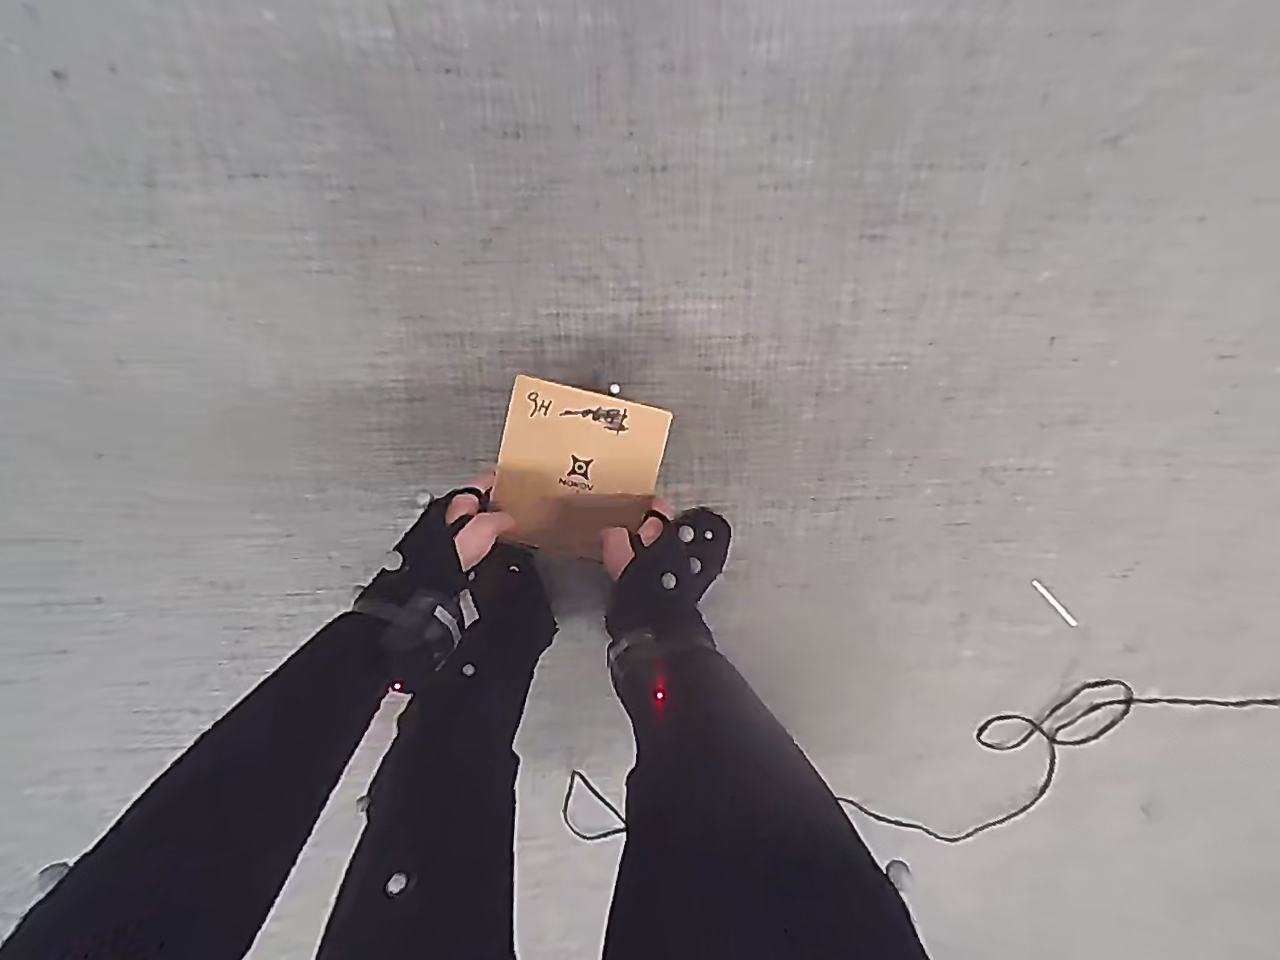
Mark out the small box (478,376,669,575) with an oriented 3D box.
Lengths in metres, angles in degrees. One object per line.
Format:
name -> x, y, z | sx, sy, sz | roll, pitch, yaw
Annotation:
small box -> -0.073, -0.014, 0.621 | 0.168, 0.176, 0.179 | 12, 98, -6
